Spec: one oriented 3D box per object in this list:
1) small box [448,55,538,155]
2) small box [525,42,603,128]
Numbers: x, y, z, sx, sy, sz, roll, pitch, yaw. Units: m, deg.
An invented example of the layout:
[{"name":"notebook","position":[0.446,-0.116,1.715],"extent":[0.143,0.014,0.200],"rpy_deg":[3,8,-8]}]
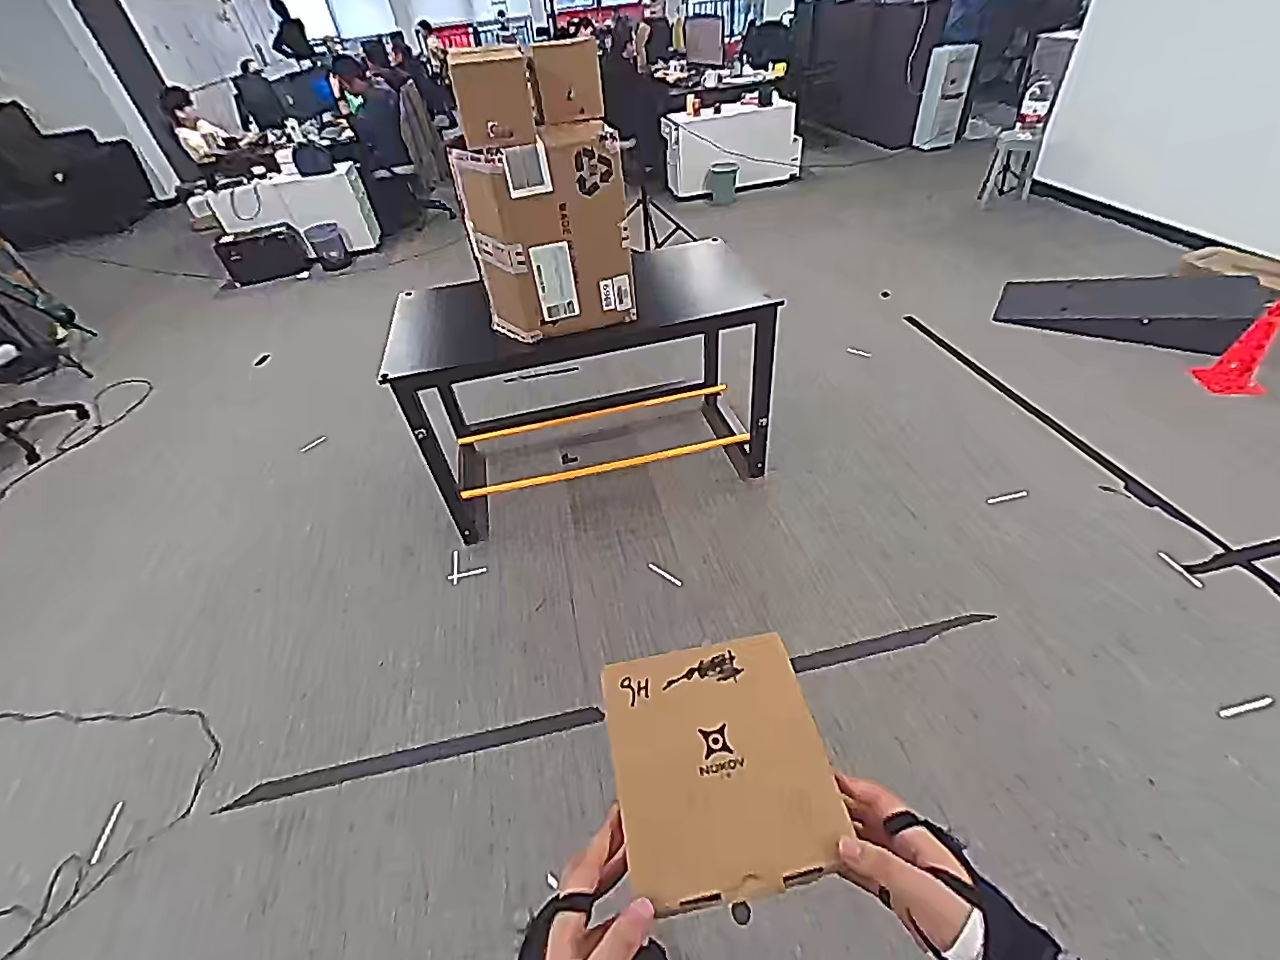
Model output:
[{"name":"small box","position":[-0.348,-0.890,1.283],"extent":[0.168,0.176,0.179],"rpy_deg":[-14,45,-10]},{"name":"small box","position":[-0.206,-1.067,1.462],"extent":[0.168,0.176,0.179],"rpy_deg":[-15,41,-9]}]
